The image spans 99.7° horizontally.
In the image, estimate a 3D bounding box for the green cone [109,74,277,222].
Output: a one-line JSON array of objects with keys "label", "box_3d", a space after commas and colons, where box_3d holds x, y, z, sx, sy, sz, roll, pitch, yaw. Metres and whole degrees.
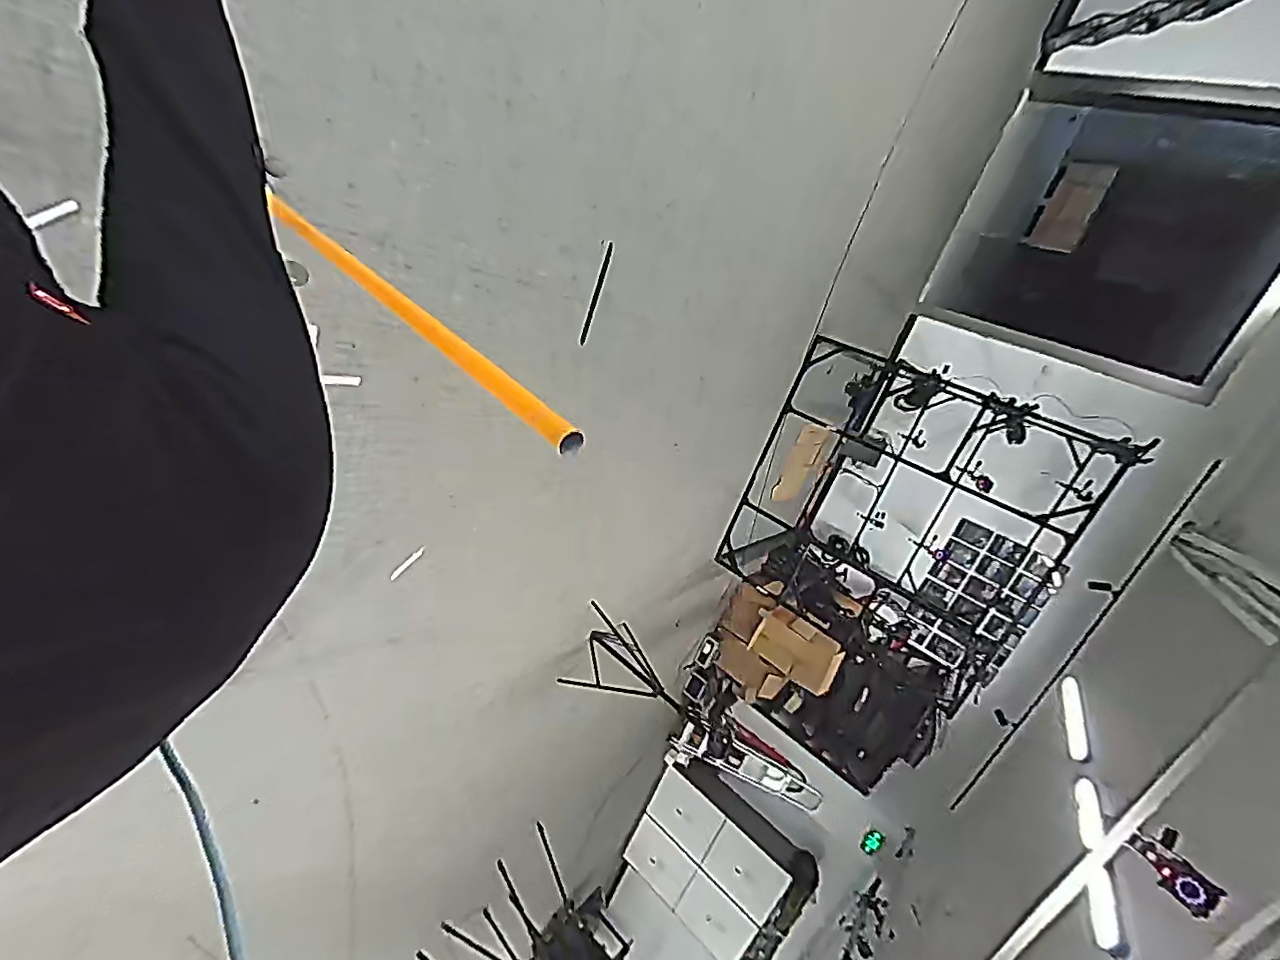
[{"label": "green cone", "box_3d": [-0.760, -0.554, 0.972, 0.202, 0.368, 0.200, -2, 119, -58]}]
